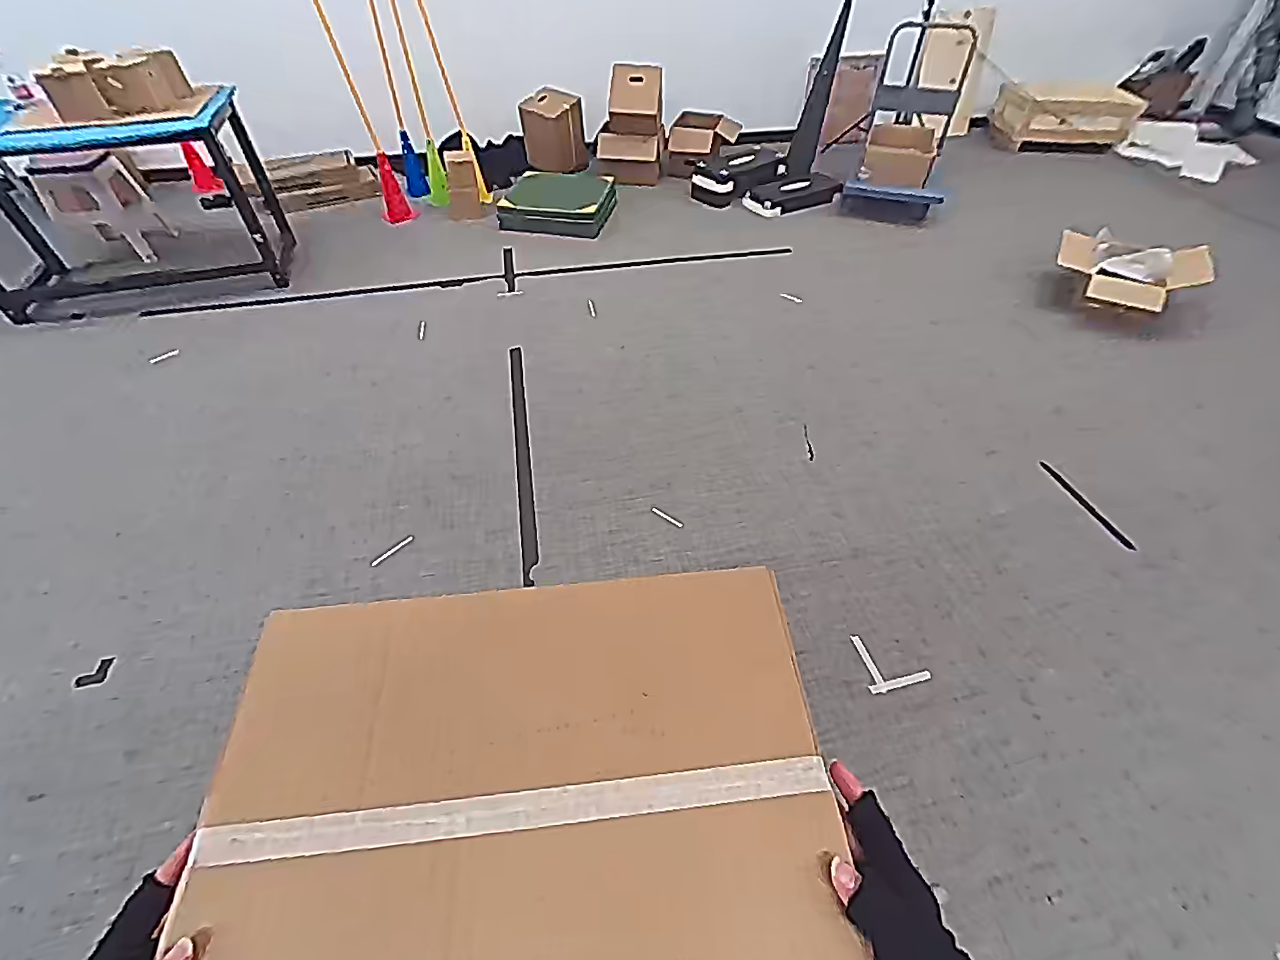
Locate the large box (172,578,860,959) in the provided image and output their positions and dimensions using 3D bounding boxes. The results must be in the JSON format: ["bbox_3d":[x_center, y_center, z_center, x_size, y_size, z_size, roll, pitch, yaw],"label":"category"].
[{"bbox_3d":[-0.076,0.310,0.476,0.408,0.320,0.320,-5,53,-3],"label":"large box"}]
